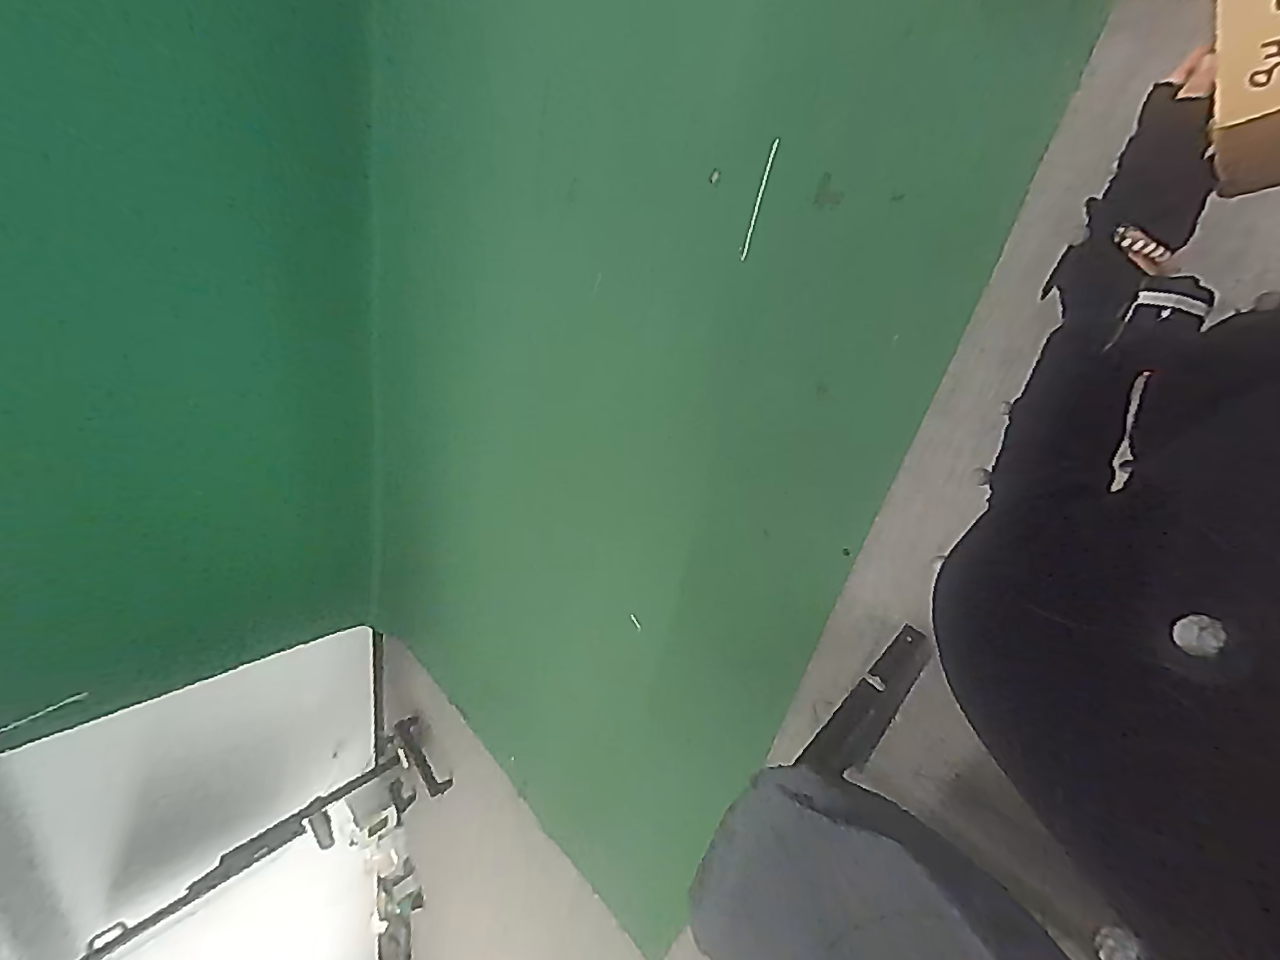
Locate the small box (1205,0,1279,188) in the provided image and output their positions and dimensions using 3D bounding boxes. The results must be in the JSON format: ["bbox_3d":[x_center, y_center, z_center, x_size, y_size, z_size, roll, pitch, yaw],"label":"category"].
[{"bbox_3d":[0.470,-0.307,0.324,0.179,0.176,0.168,2,96,47],"label":"small box"}]
